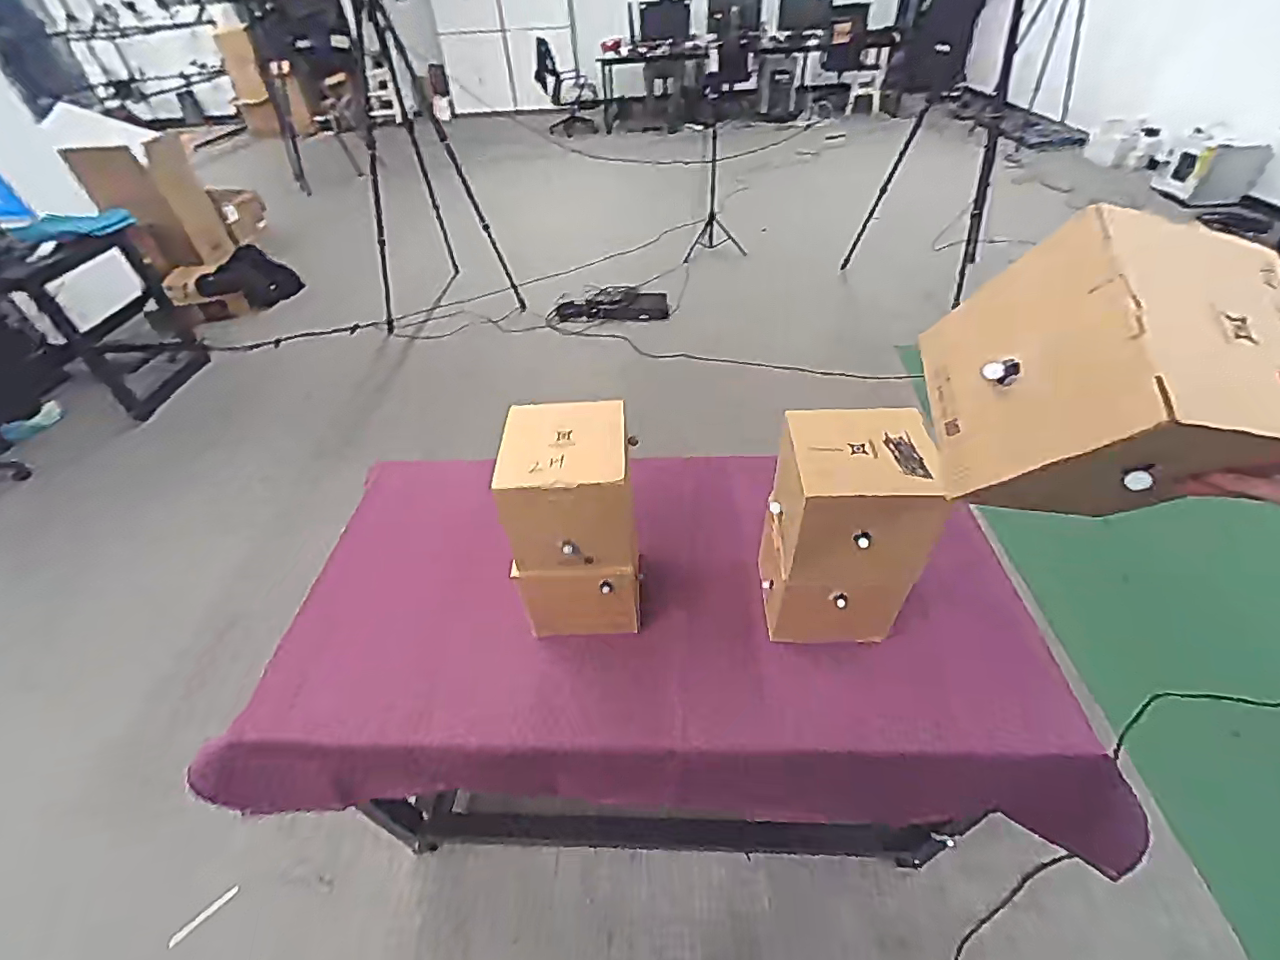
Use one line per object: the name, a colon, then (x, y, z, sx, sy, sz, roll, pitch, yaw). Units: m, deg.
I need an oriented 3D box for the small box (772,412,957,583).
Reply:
small box: (0.283, 0.026, 0.729, 0.179, 0.176, 0.168, -1, 44, 5)

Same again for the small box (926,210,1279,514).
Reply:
small box: (0.359, -0.076, 0.435, 0.179, 0.176, 0.168, 5, 70, -12)

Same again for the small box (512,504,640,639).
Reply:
small box: (-0.094, 0.143, 0.878, 0.179, 0.176, 0.168, -3, 43, 0)

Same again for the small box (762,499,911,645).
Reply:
small box: (0.289, 0.144, 0.843, 0.179, 0.176, 0.168, 0, 44, 4)

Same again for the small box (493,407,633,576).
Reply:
small box: (-0.098, 0.015, 0.773, 0.168, 0.176, 0.179, -4, 43, 1)
